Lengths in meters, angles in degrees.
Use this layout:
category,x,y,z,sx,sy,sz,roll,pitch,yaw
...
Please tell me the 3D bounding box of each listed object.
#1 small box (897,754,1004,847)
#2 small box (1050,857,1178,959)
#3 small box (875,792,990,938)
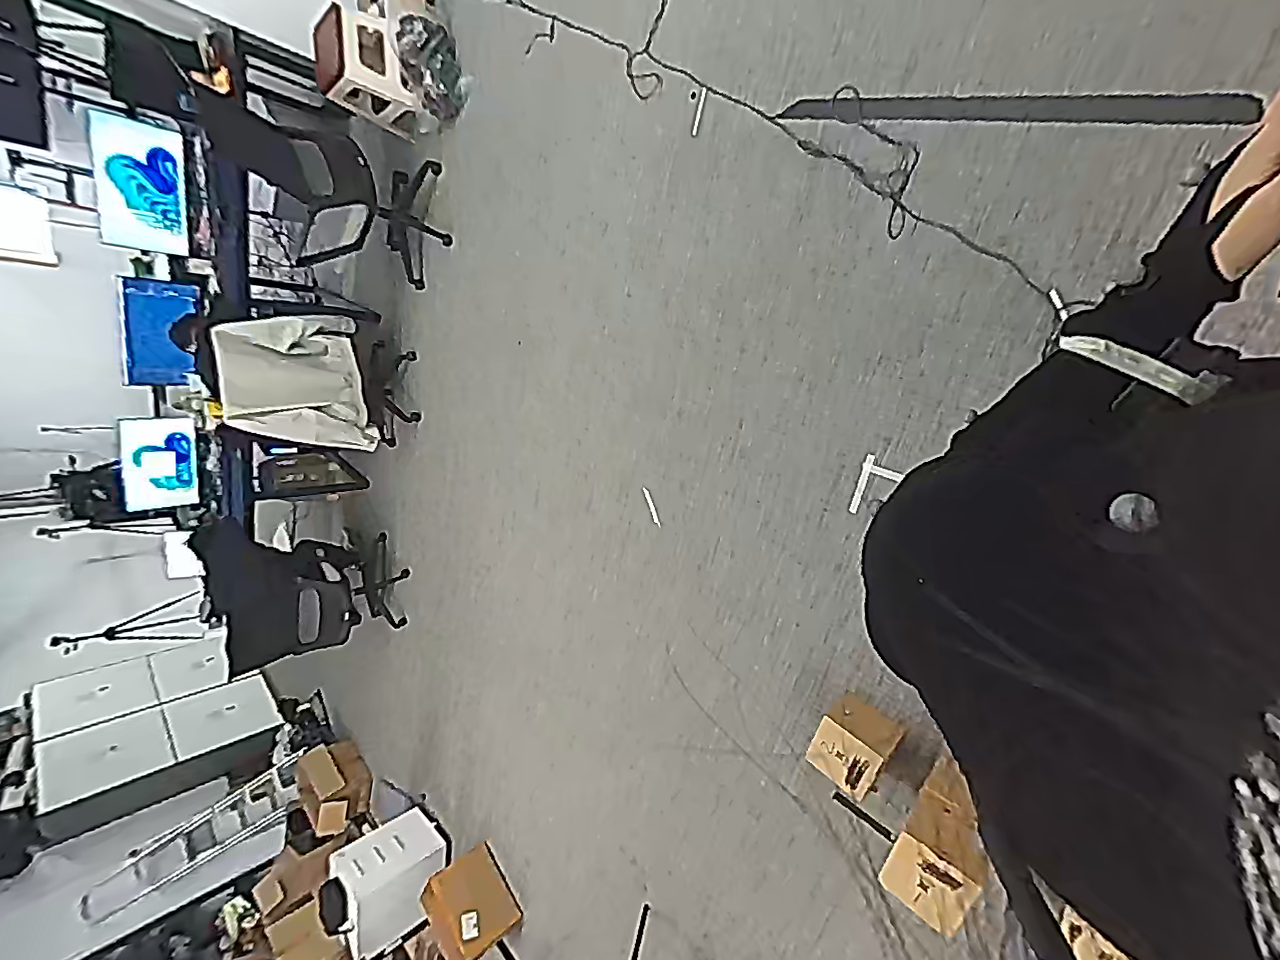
category,x,y,z,sx,sy,sz,roll,pitch,yaw
small box,0.785,0.841,1.360,0.168,0.176,0.179,31,116,34
small box,1.019,0.974,1.171,0.179,0.176,0.168,14,105,39
small box,0.675,0.869,1.241,0.168,0.176,0.179,28,115,36
